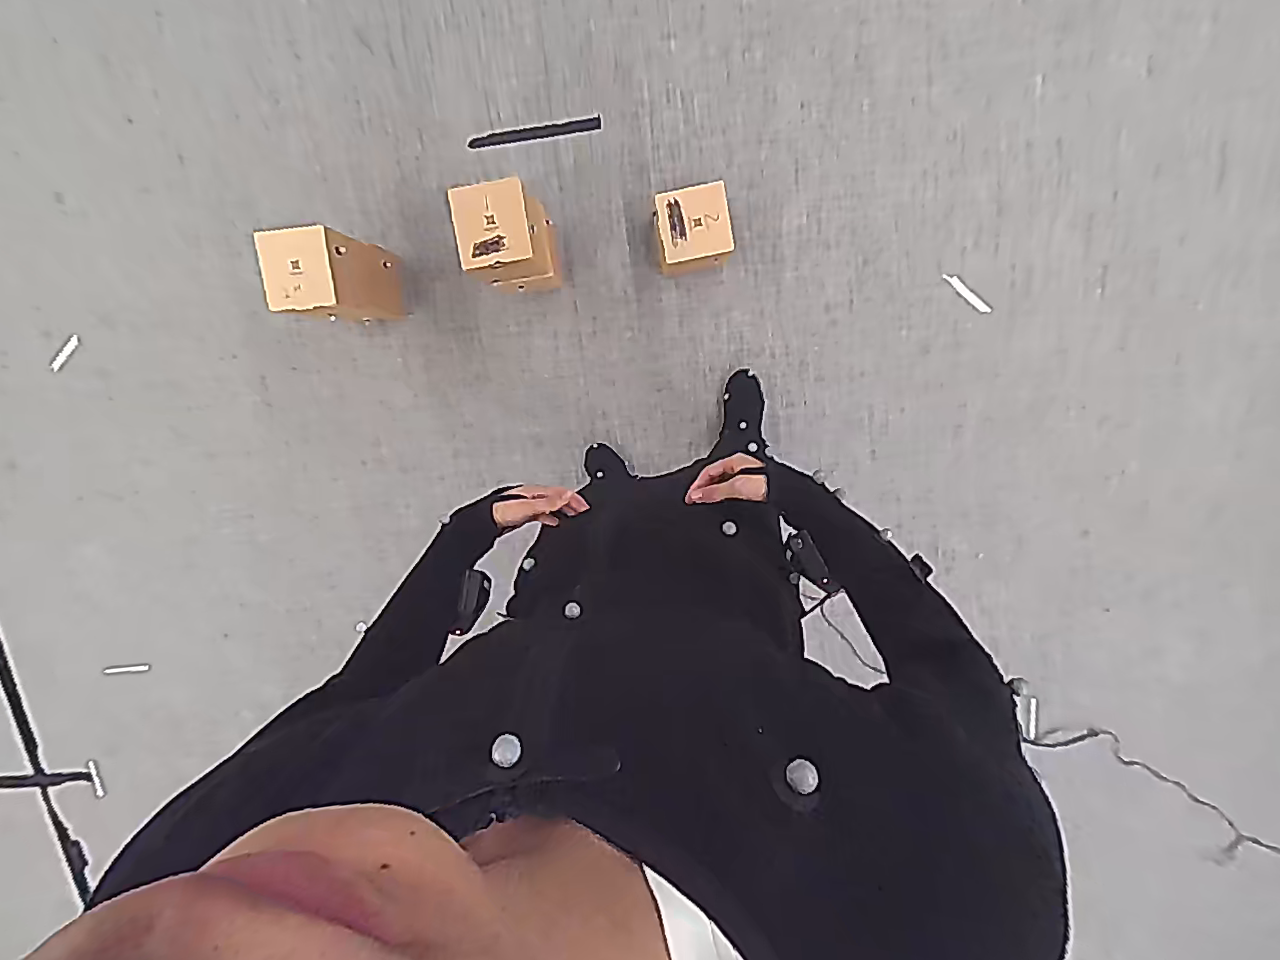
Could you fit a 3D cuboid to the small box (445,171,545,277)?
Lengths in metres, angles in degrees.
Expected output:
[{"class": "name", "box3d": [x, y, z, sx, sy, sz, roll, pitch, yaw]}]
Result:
[{"class": "small box", "box3d": [-0.326, -0.582, 1.256, 0.168, 0.176, 0.179, -8, 99, 3]}]

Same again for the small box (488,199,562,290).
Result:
[{"class": "small box", "box3d": [-0.309, -0.607, 1.419, 0.168, 0.176, 0.179, -8, 99, 3]}]

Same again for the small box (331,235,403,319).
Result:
[{"class": "small box", "box3d": [-0.759, -0.536, 1.446, 0.168, 0.176, 0.179, -3, 100, 3]}]

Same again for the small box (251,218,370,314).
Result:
[{"class": "small box", "box3d": [-0.772, -0.501, 1.286, 0.168, 0.176, 0.179, -4, 101, 4]}]
